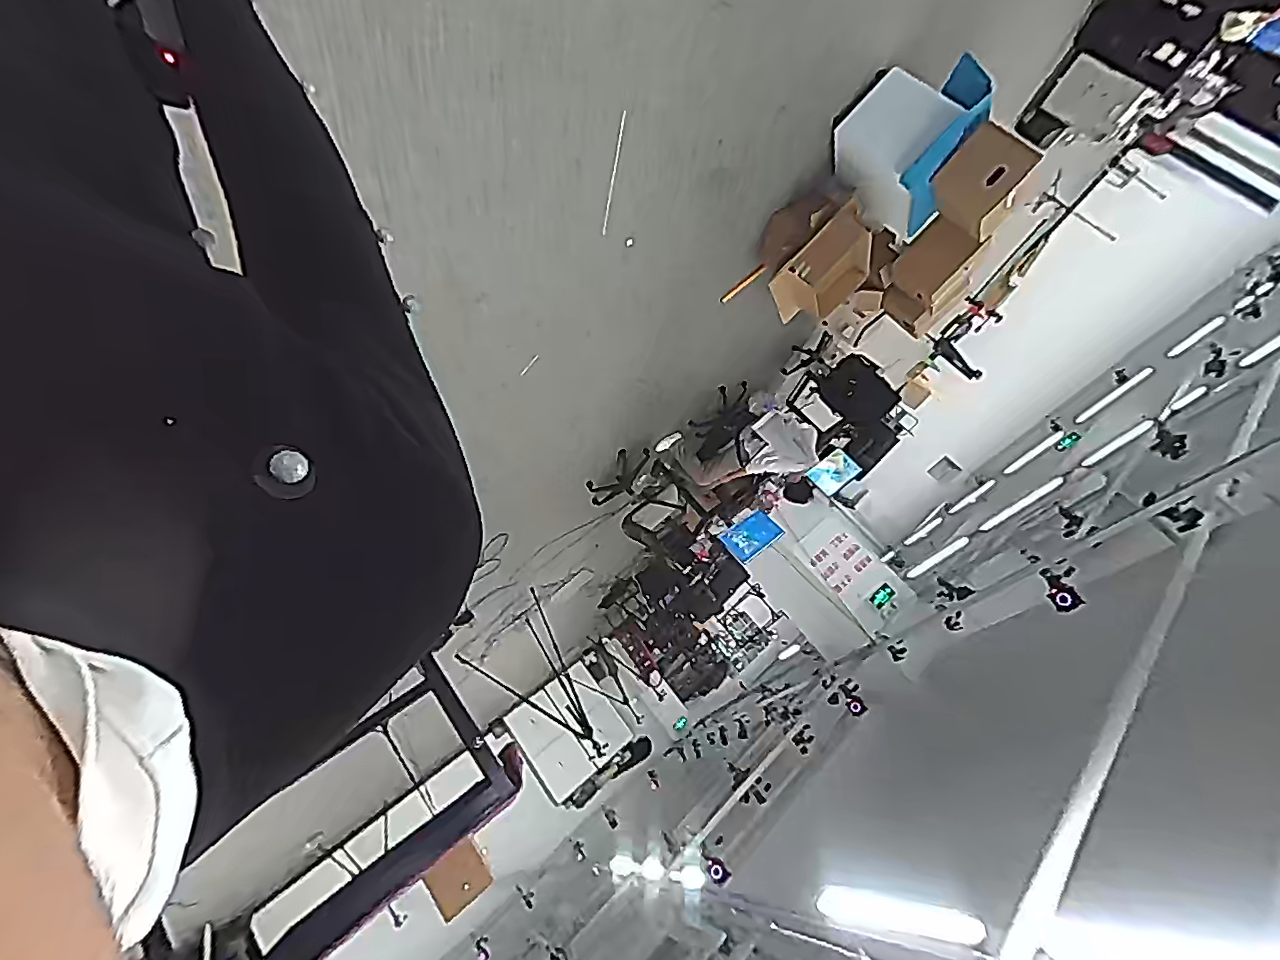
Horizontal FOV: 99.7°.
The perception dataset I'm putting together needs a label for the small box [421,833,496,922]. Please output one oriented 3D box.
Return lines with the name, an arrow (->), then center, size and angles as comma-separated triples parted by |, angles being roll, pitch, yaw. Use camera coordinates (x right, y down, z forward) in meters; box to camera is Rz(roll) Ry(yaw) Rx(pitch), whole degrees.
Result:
small box -> -0.602, 1.316, 1.808 | 0.179, 0.176, 0.168 | -31, 159, -27
